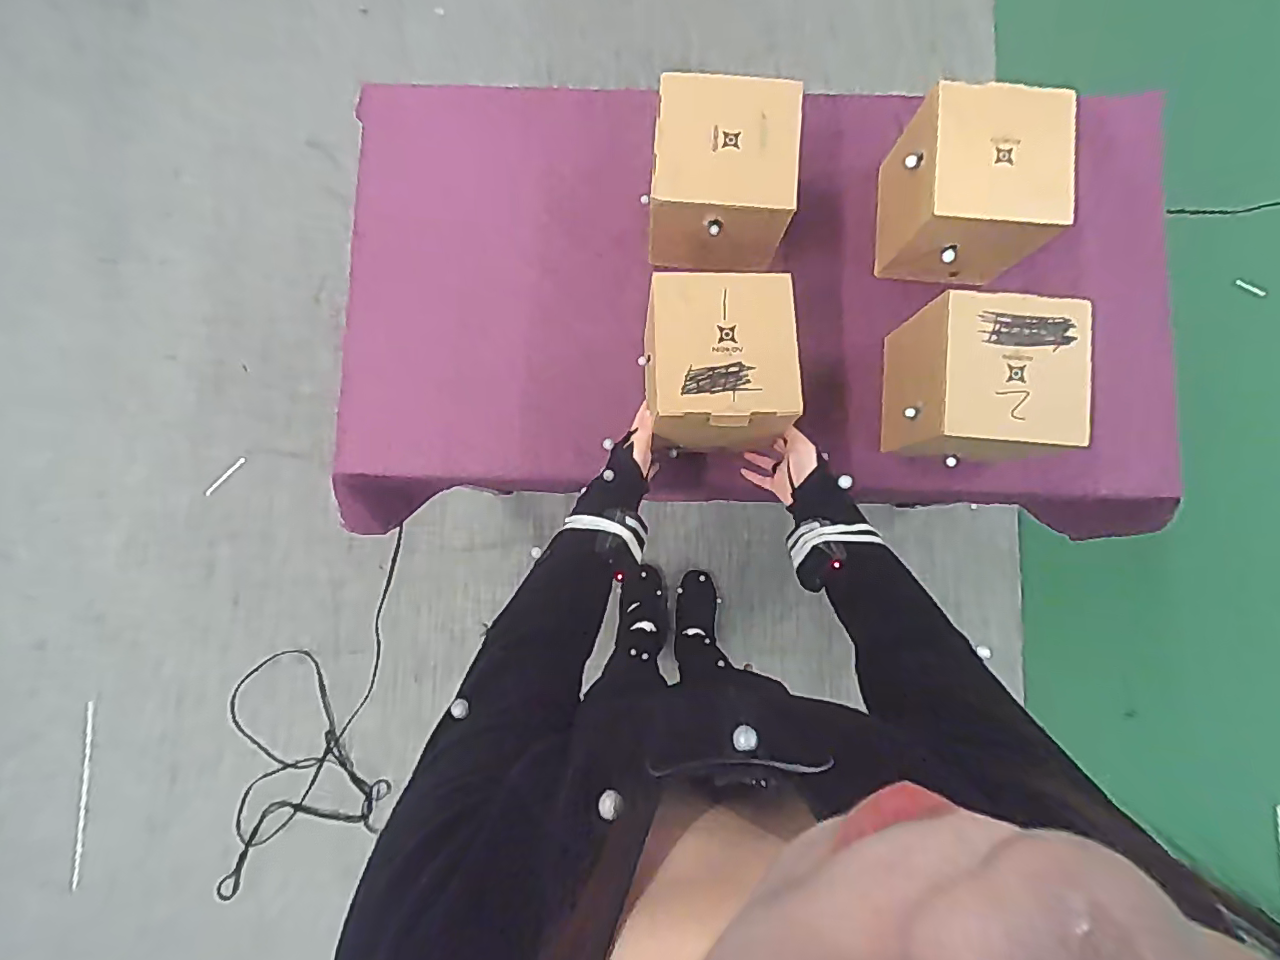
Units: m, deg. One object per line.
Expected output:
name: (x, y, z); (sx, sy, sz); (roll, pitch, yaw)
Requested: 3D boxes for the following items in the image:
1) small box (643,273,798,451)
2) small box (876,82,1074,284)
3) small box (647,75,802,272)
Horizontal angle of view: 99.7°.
small box: (0.091, -0.138, 0.690); (0.168, 0.176, 0.179); (-1, 77, -3)
small box: (0.431, -0.381, 0.721); (0.168, 0.176, 0.179); (5, 84, 2)
small box: (0.104, -0.399, 0.730); (0.179, 0.176, 0.168); (5, 85, 1)
